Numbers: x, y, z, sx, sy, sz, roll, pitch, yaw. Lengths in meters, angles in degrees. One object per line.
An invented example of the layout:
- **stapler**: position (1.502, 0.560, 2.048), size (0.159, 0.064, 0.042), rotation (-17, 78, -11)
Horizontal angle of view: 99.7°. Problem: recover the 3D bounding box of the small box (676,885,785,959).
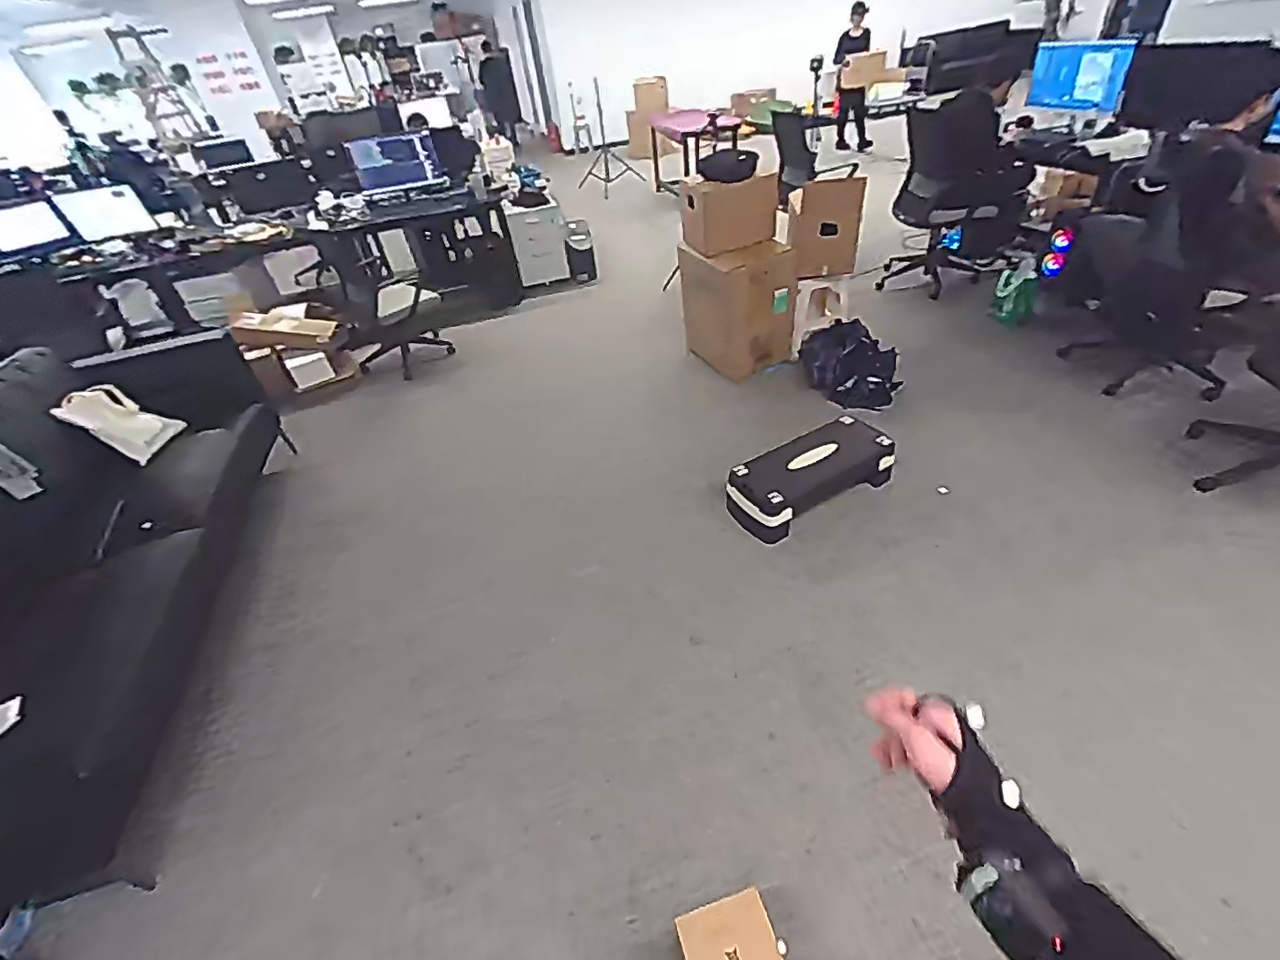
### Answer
- **small box**: position (0.175, 0.890, 0.986), size (0.168, 0.176, 0.179), rotation (-16, 39, -9)
